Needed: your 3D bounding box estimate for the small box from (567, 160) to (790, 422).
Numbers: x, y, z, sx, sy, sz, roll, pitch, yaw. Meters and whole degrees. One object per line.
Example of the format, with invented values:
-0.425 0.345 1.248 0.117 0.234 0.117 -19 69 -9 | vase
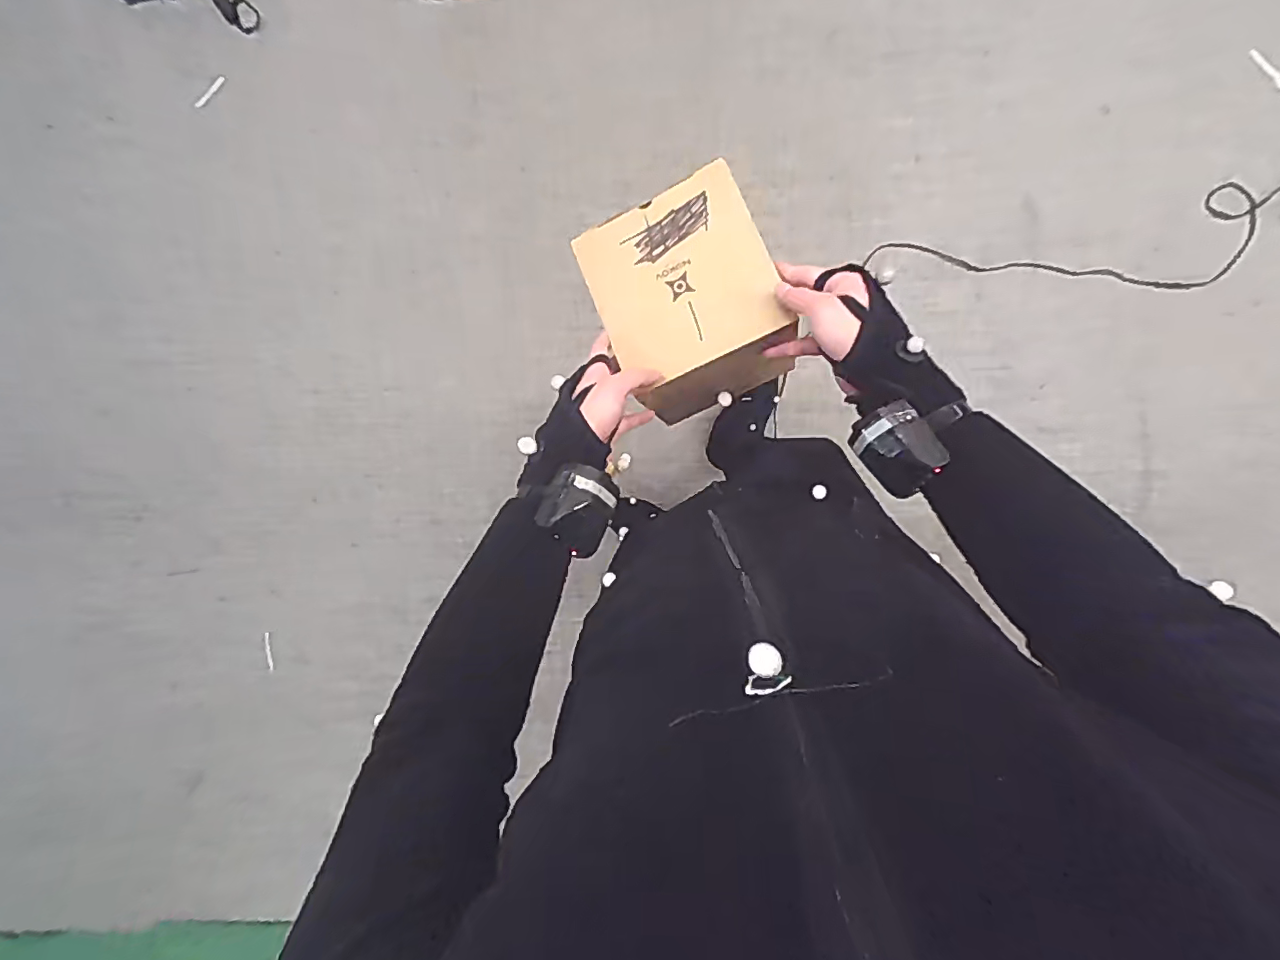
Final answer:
0.049 -0.183 0.581 0.168 0.176 0.179 -24 79 13 | small box
